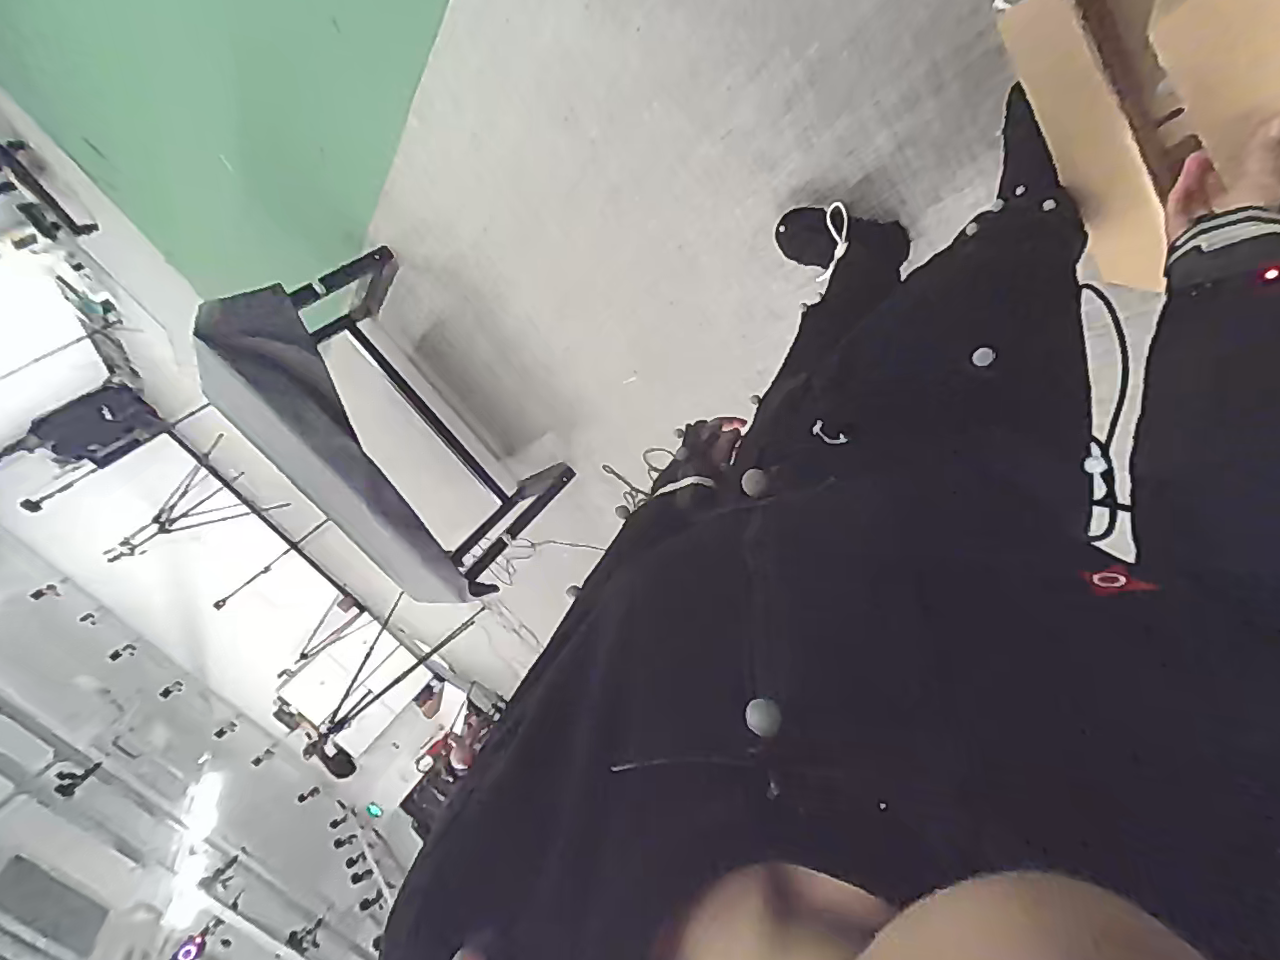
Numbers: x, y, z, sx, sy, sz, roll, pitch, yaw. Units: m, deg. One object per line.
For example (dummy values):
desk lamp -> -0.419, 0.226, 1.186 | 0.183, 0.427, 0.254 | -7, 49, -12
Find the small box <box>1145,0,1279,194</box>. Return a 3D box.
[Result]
small box -> 0.528, -0.363, 0.403 | 0.168, 0.176, 0.179 | 48, 146, -11
